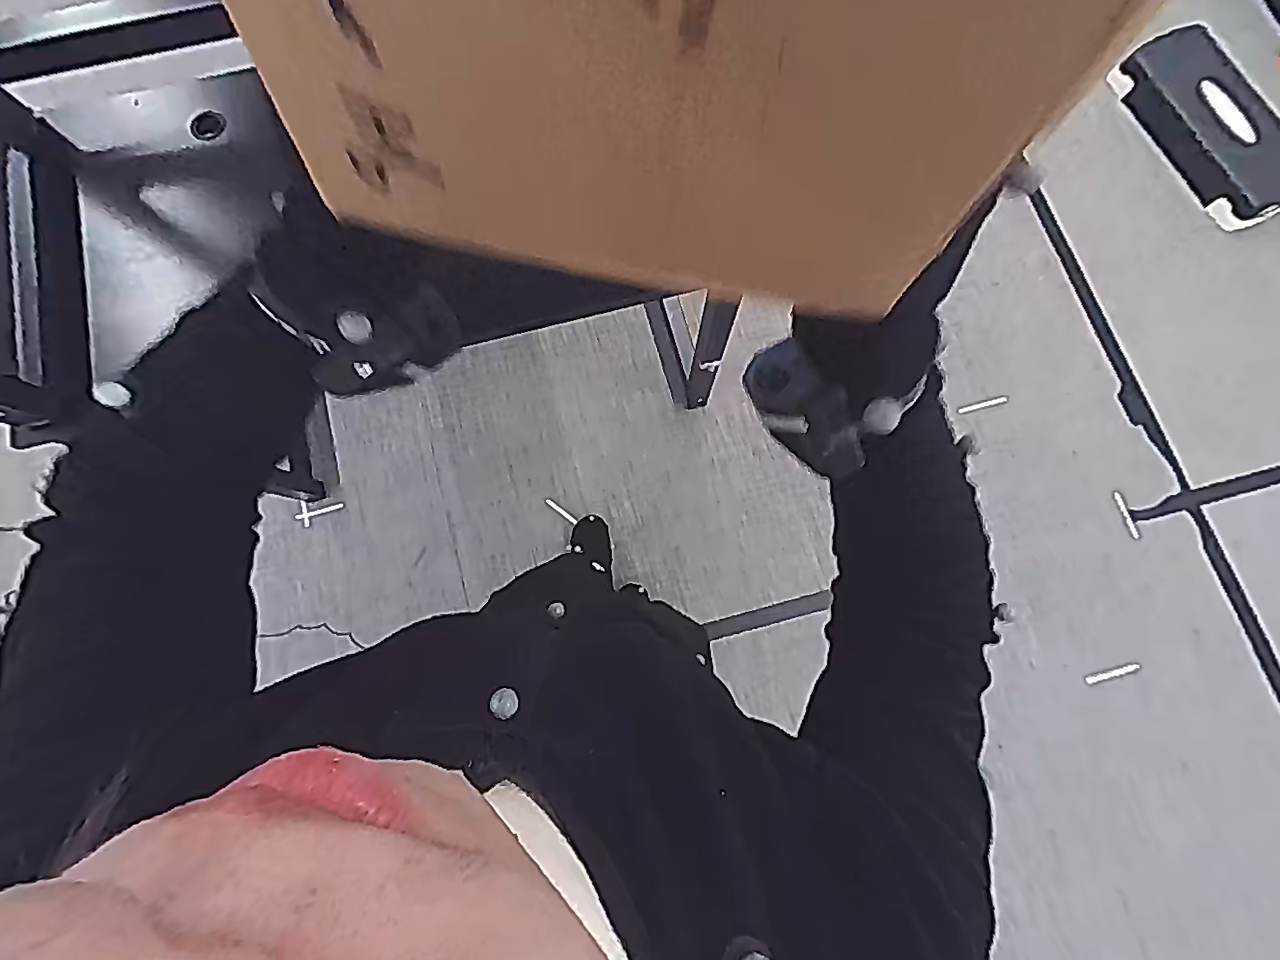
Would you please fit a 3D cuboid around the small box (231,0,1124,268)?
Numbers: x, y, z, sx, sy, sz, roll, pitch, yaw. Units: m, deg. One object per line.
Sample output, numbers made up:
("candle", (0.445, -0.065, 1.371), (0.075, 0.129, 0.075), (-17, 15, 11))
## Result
("small box", (0.014, -0.178, 0.109), (0.179, 0.168, 0.176), (9, 67, -4))
